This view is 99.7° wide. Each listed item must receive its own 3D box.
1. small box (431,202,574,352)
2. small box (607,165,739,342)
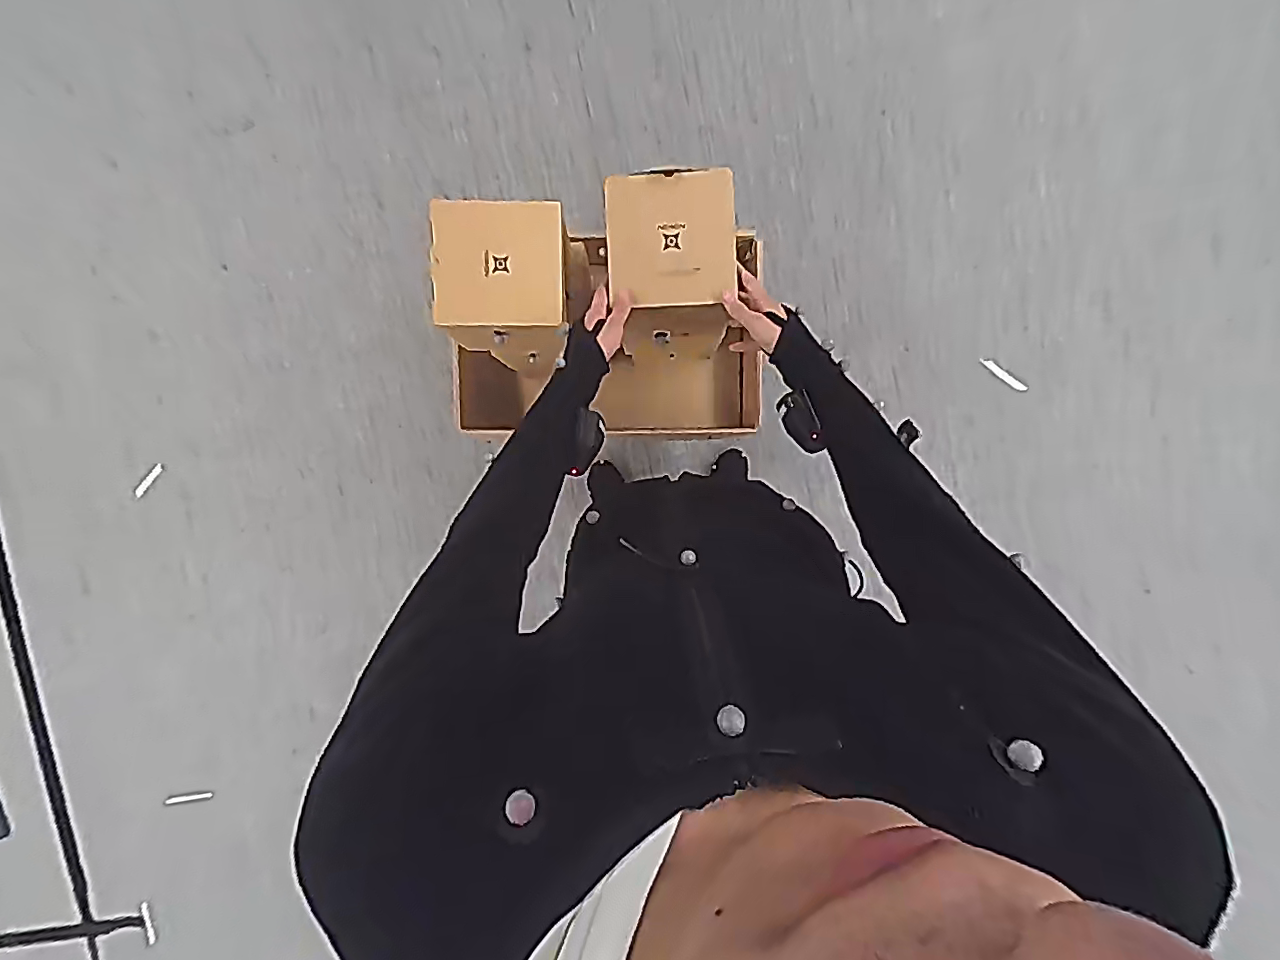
[{"bbox_3d":[-0.190,-0.288,0.796,0.179,0.176,0.168,0,92,0],"label":"small box"},{"bbox_3d":[0.042,-0.305,0.759,0.168,0.176,0.179,-2,89,2],"label":"small box"}]
